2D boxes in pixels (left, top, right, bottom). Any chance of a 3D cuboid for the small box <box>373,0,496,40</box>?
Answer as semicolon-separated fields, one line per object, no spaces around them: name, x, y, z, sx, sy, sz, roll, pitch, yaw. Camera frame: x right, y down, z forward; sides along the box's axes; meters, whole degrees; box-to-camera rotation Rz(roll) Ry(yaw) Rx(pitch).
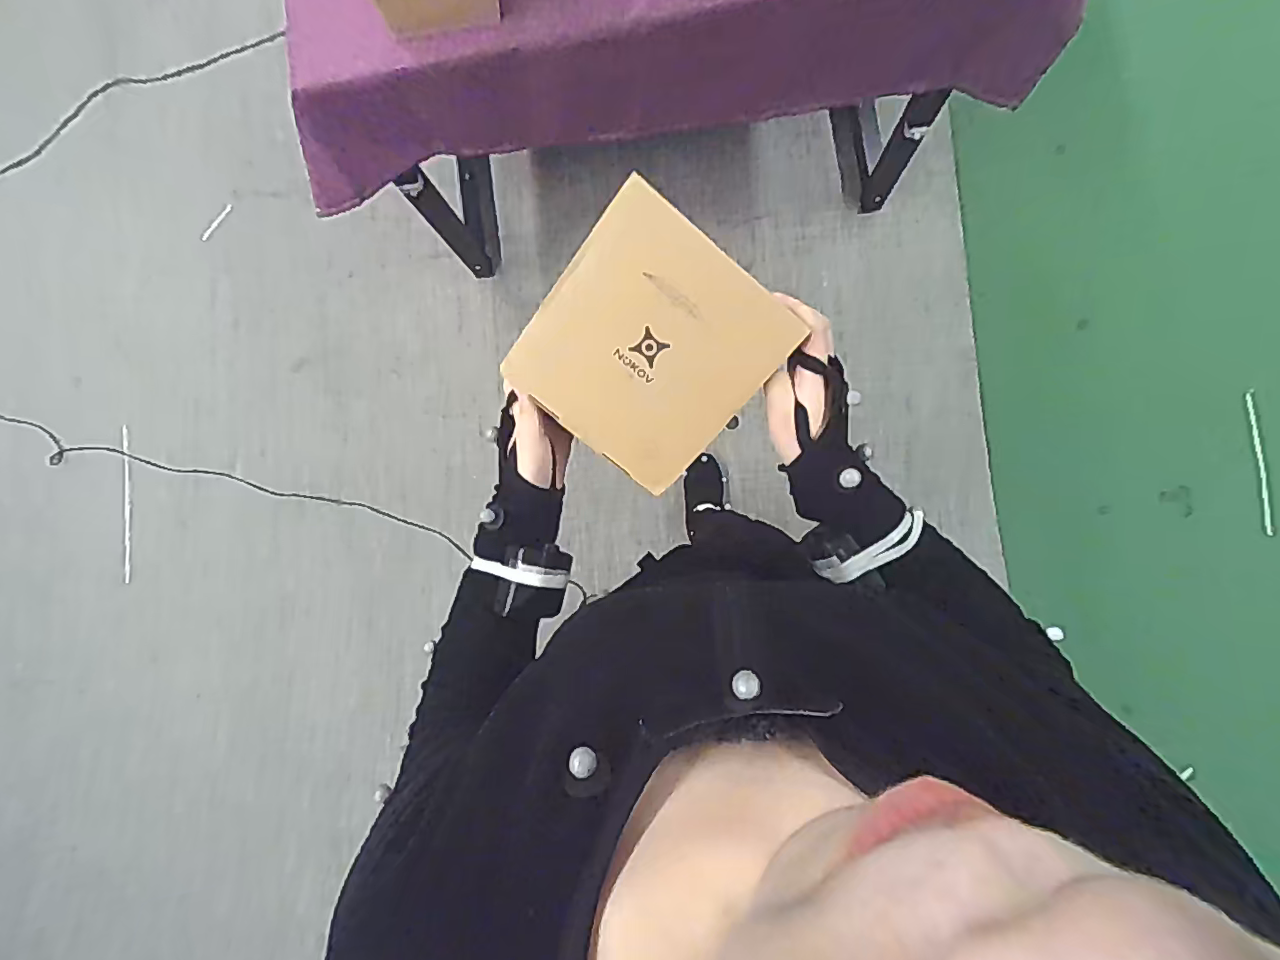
small box;-0.320;-0.801;0.794;0.179;0.176;0.168;-5;84;5
